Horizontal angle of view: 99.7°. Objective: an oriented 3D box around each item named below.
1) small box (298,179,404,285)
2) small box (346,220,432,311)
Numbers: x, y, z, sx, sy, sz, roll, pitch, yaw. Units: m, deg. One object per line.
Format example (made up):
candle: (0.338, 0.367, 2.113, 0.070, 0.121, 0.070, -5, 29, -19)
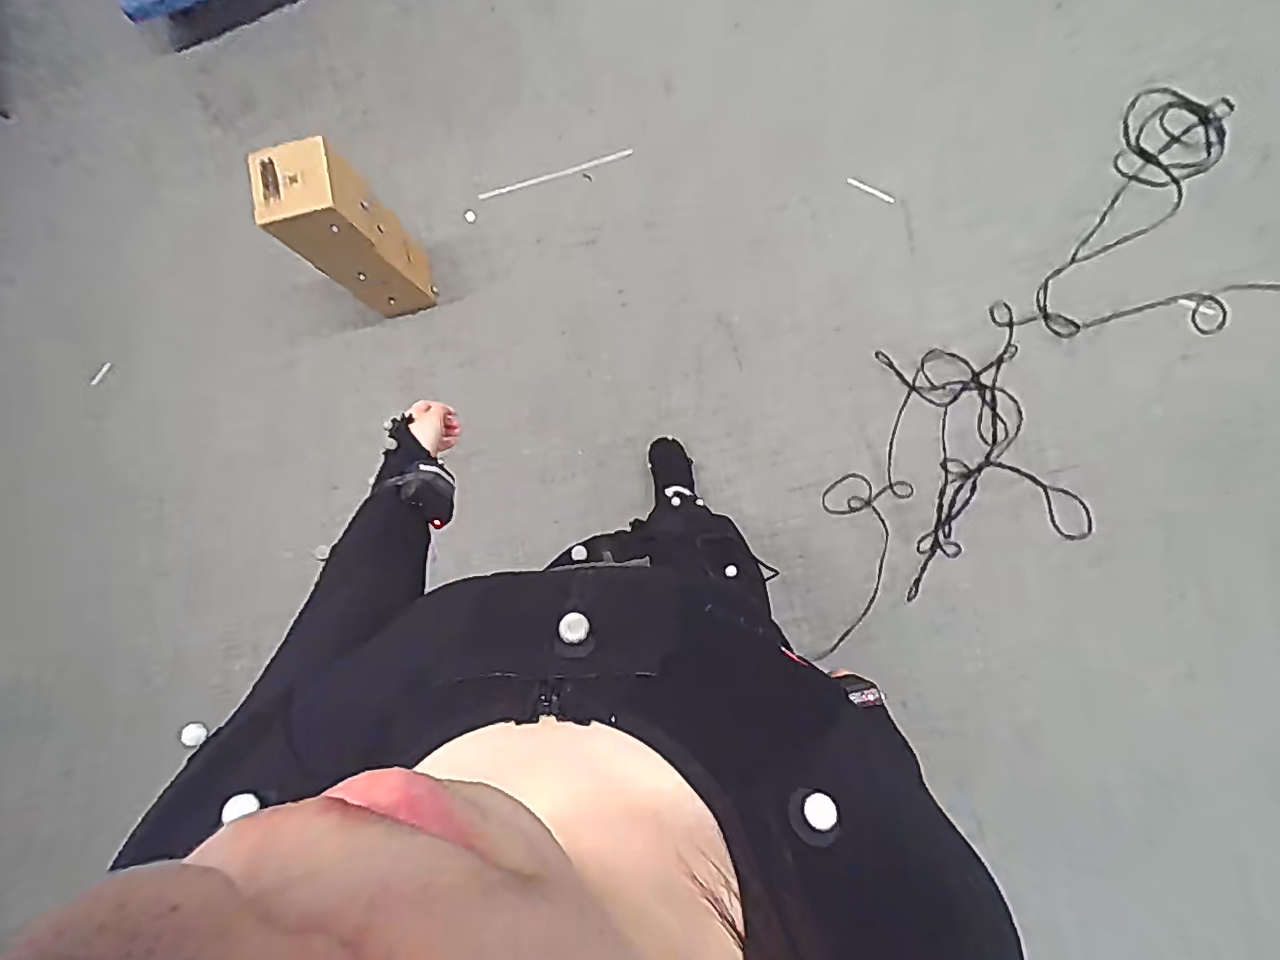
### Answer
small box: (-0.724, -0.617, 1.373, 0.168, 0.176, 0.179, -12, 85, 4)
small box: (-0.713, -0.602, 1.537, 0.179, 0.176, 0.168, -12, 85, 5)
